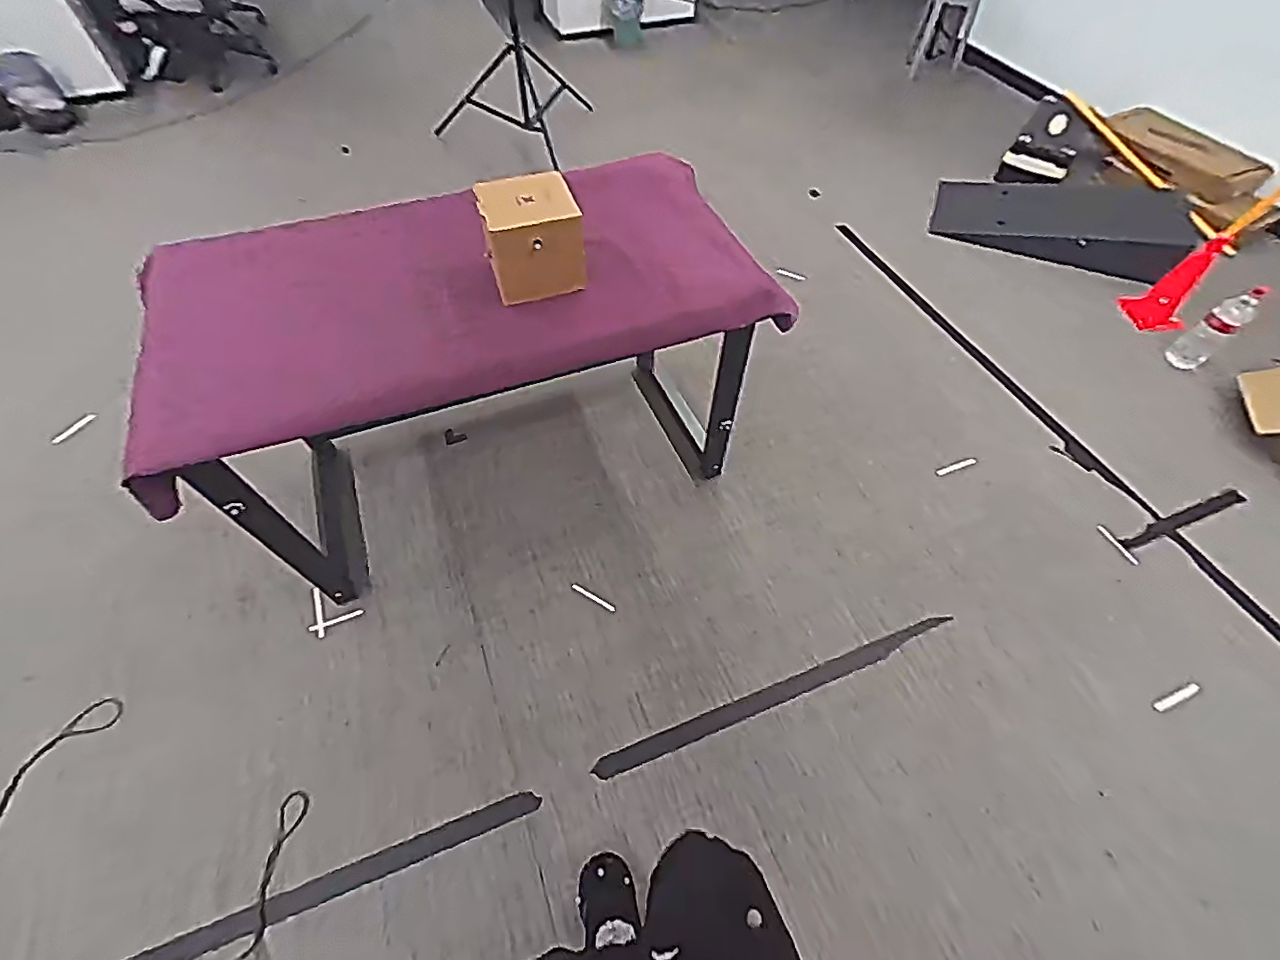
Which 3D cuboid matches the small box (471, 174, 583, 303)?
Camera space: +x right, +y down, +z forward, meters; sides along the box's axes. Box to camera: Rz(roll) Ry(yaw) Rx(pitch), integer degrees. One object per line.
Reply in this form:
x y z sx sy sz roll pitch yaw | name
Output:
-0.222 -0.481 1.091 0.179 0.176 0.168 -16 59 -12 | small box
